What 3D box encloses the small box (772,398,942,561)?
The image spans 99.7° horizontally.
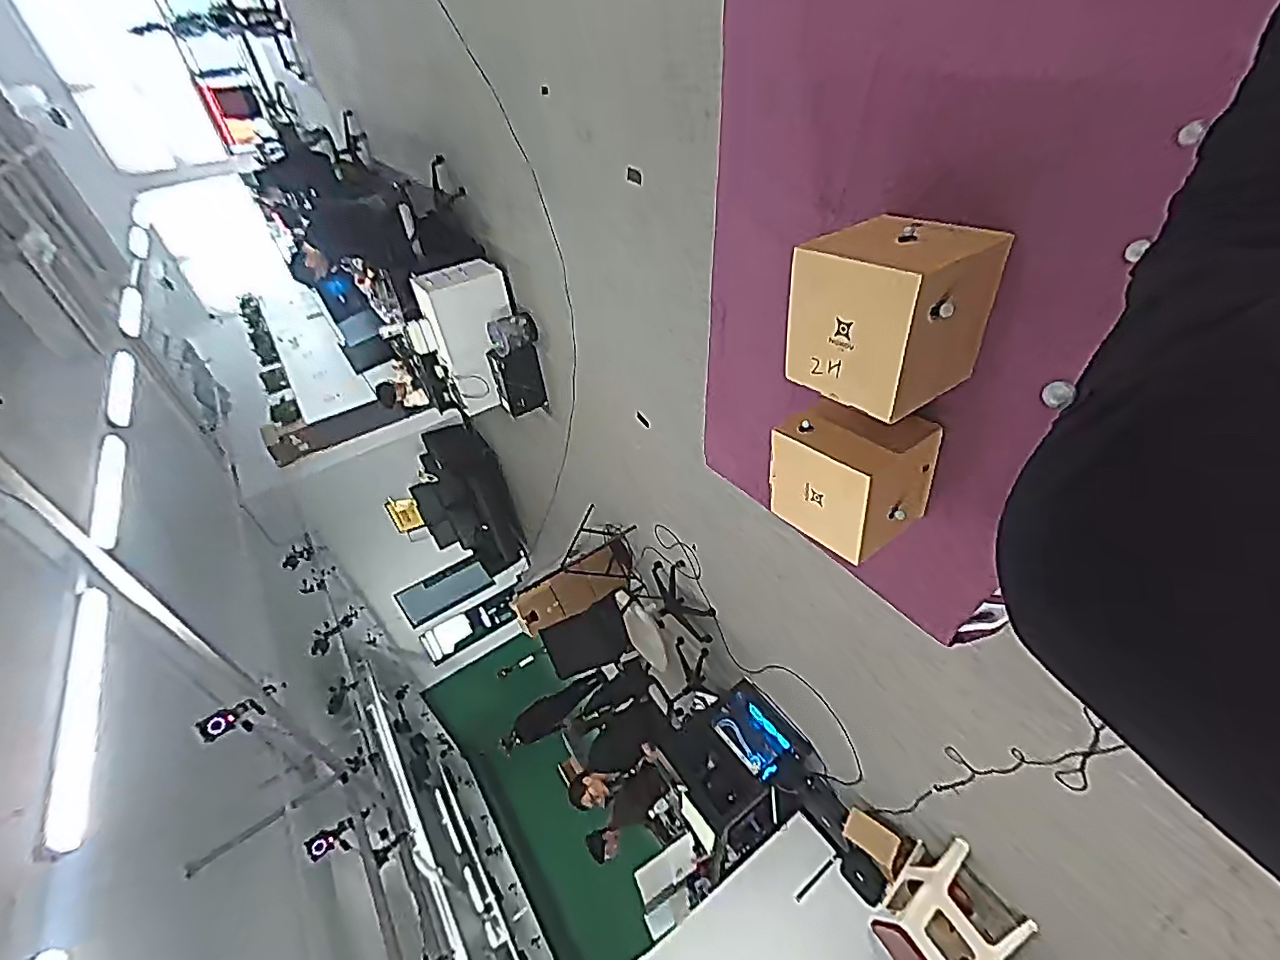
[{"bbox_3d":[0.324,-0.015,0.827,0.179,0.176,0.168,38,147,46],"label":"small box"}]

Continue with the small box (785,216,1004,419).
[{"bbox_3d":[0.301,-0.207,0.658,0.168,0.176,0.179,40,148,44],"label":"small box"}]
